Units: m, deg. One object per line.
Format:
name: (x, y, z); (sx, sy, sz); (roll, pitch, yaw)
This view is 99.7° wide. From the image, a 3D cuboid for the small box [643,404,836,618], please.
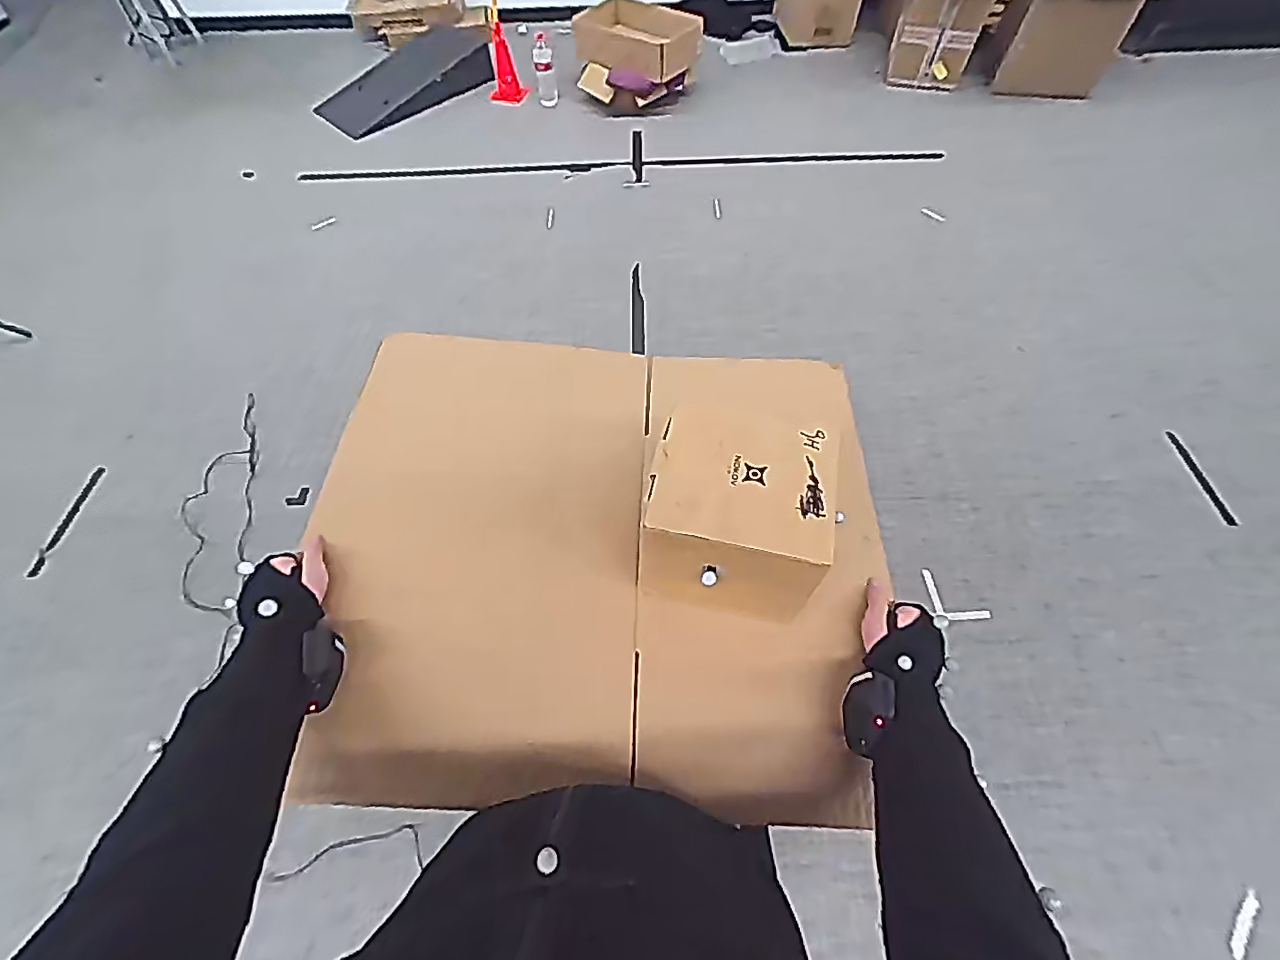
small box: (0.107, 0.041, 0.607); (0.179, 0.176, 0.168); (10, 59, 8)
